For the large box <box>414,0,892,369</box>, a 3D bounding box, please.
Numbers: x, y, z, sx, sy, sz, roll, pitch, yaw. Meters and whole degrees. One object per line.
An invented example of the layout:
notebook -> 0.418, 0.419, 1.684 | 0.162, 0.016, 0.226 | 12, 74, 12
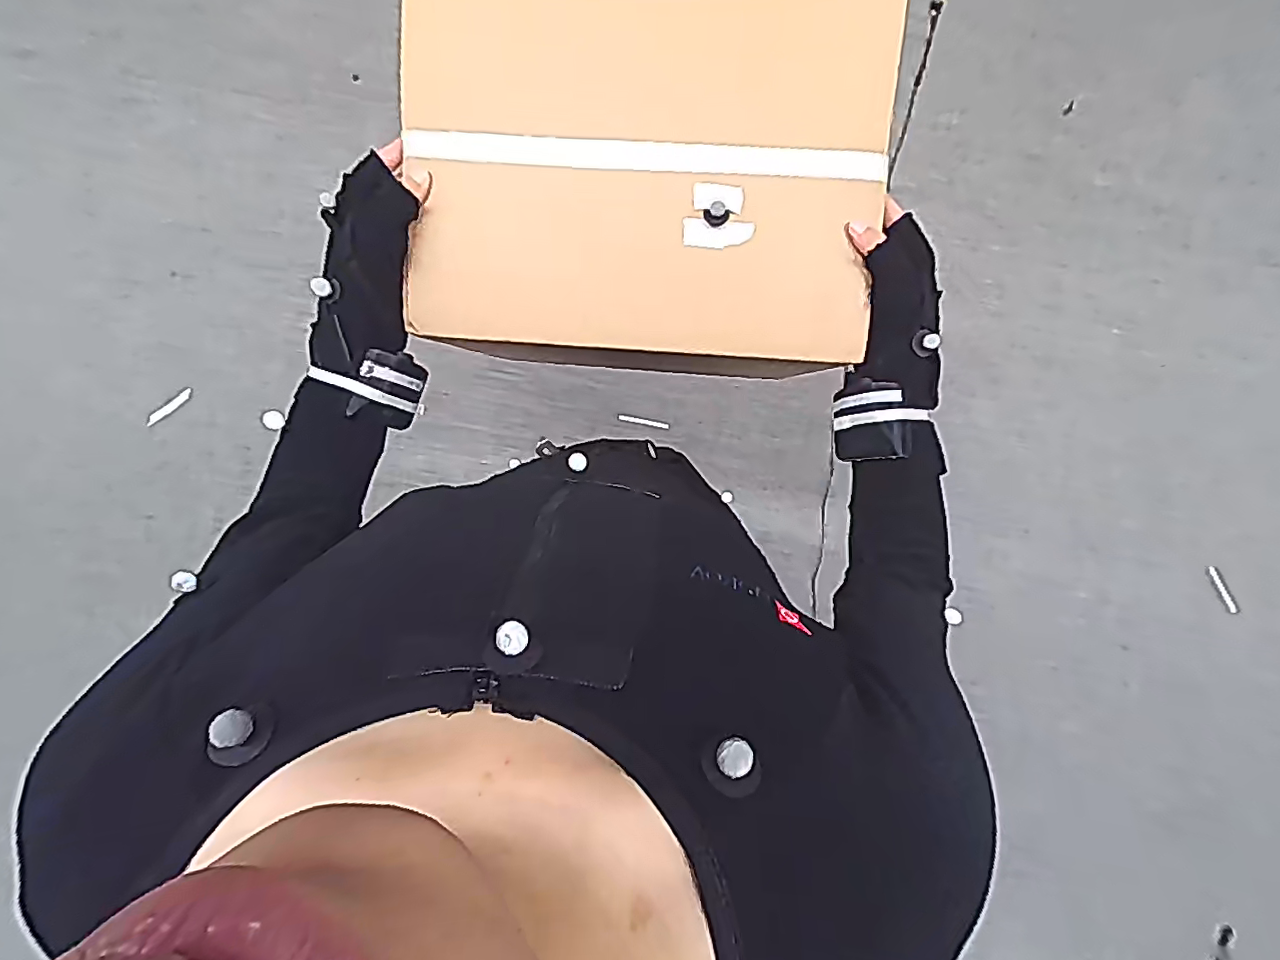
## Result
large box -> 0.006, -0.298, 0.609 | 0.408, 0.320, 0.320 | 3, 98, 1
